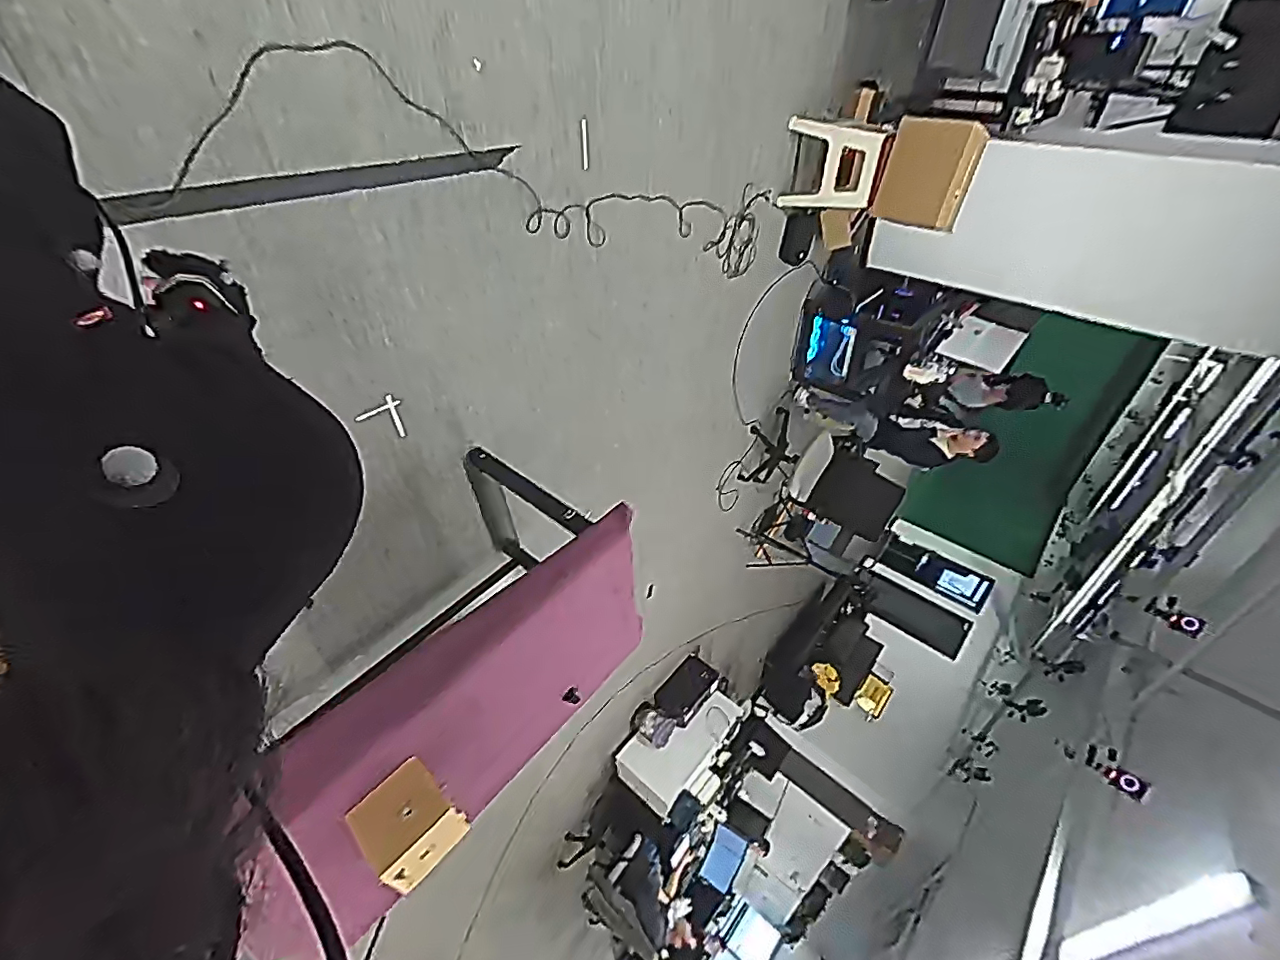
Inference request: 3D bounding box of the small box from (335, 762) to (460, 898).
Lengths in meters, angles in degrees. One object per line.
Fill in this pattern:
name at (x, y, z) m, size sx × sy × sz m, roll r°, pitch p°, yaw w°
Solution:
small box at (-0.546, 0.786, 1.227) m, size 0.179 × 0.176 × 0.168 m, roll -39°, pitch 143°, yaw -34°
